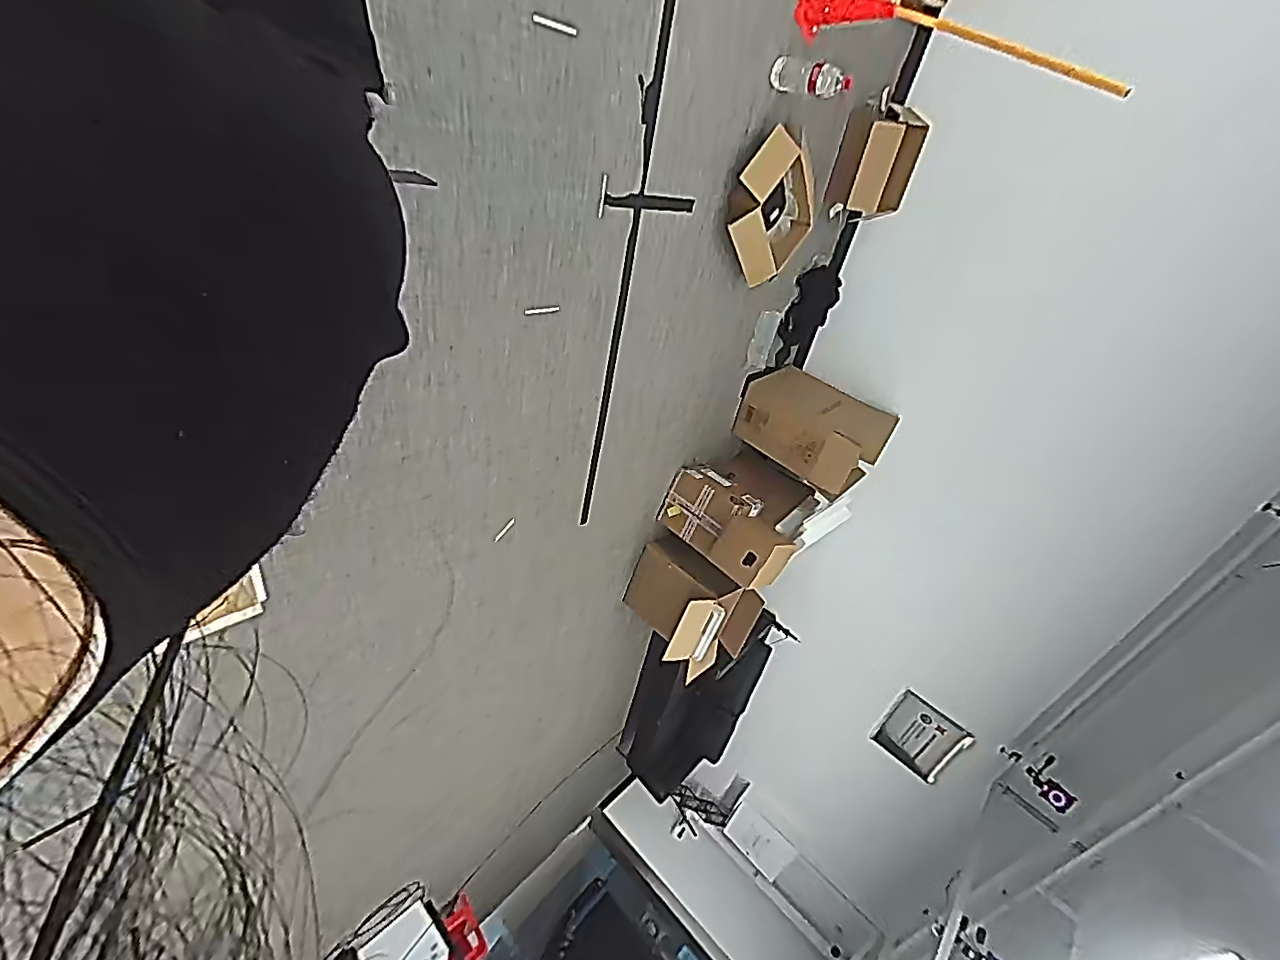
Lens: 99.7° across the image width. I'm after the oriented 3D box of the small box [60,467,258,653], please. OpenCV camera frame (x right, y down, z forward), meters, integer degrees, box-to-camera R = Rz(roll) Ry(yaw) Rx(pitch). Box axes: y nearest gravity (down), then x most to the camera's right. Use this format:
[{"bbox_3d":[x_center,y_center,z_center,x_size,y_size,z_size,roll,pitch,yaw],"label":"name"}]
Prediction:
[{"bbox_3d":[-0.700,0.109,0.797,0.168,0.176,0.179,-24,140,-42],"label":"small box"}]
